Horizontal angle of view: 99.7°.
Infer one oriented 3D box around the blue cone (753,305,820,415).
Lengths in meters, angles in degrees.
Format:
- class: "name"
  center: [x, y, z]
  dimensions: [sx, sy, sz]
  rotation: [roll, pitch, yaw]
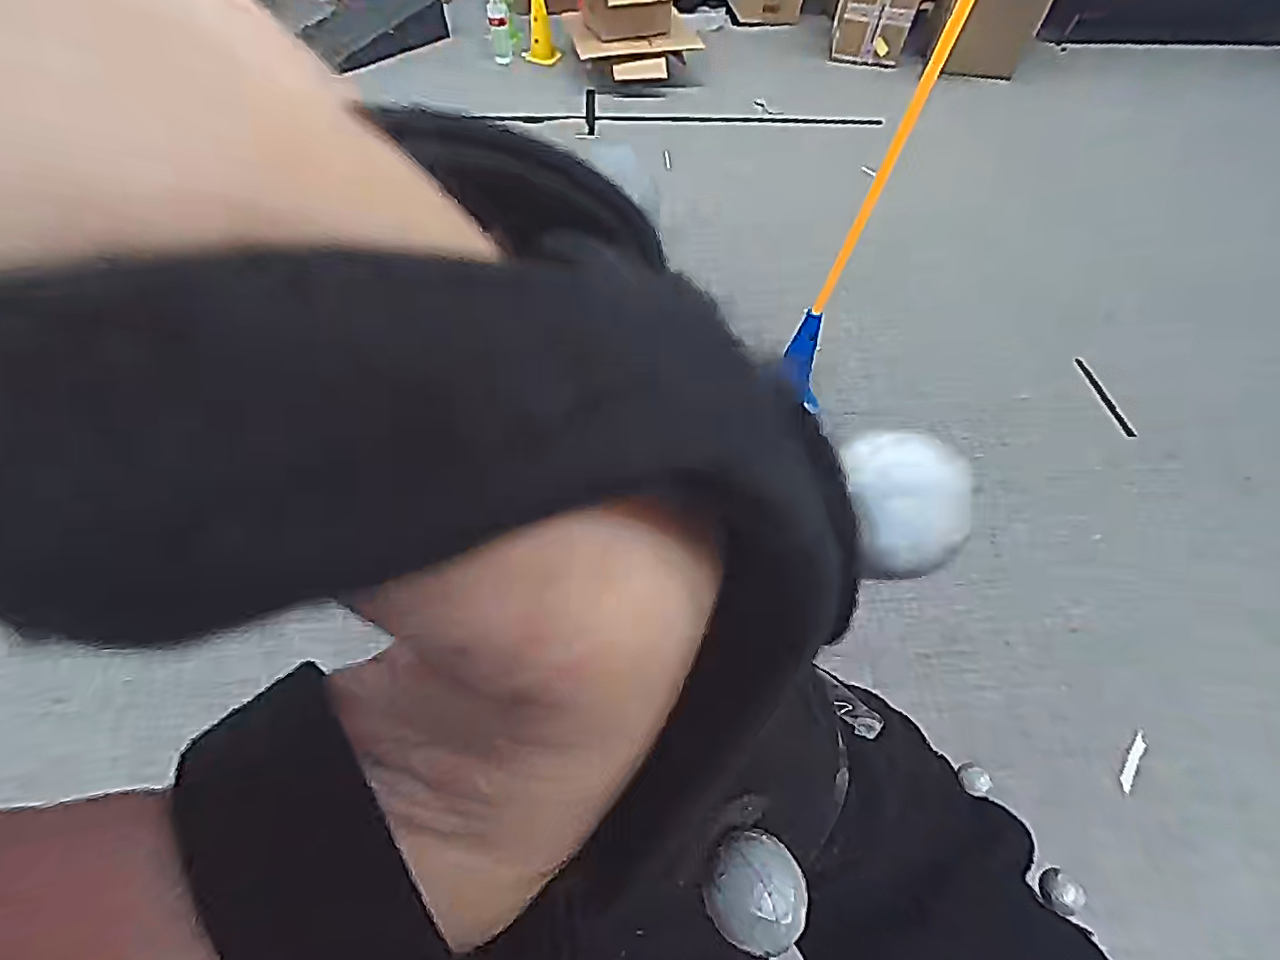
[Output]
- class: "blue cone"
  center: [0.505, -0.390, 1.729]
  dimensions: [0.193, 0.380, 0.192]
  rotation: [-5, 57, -6]
